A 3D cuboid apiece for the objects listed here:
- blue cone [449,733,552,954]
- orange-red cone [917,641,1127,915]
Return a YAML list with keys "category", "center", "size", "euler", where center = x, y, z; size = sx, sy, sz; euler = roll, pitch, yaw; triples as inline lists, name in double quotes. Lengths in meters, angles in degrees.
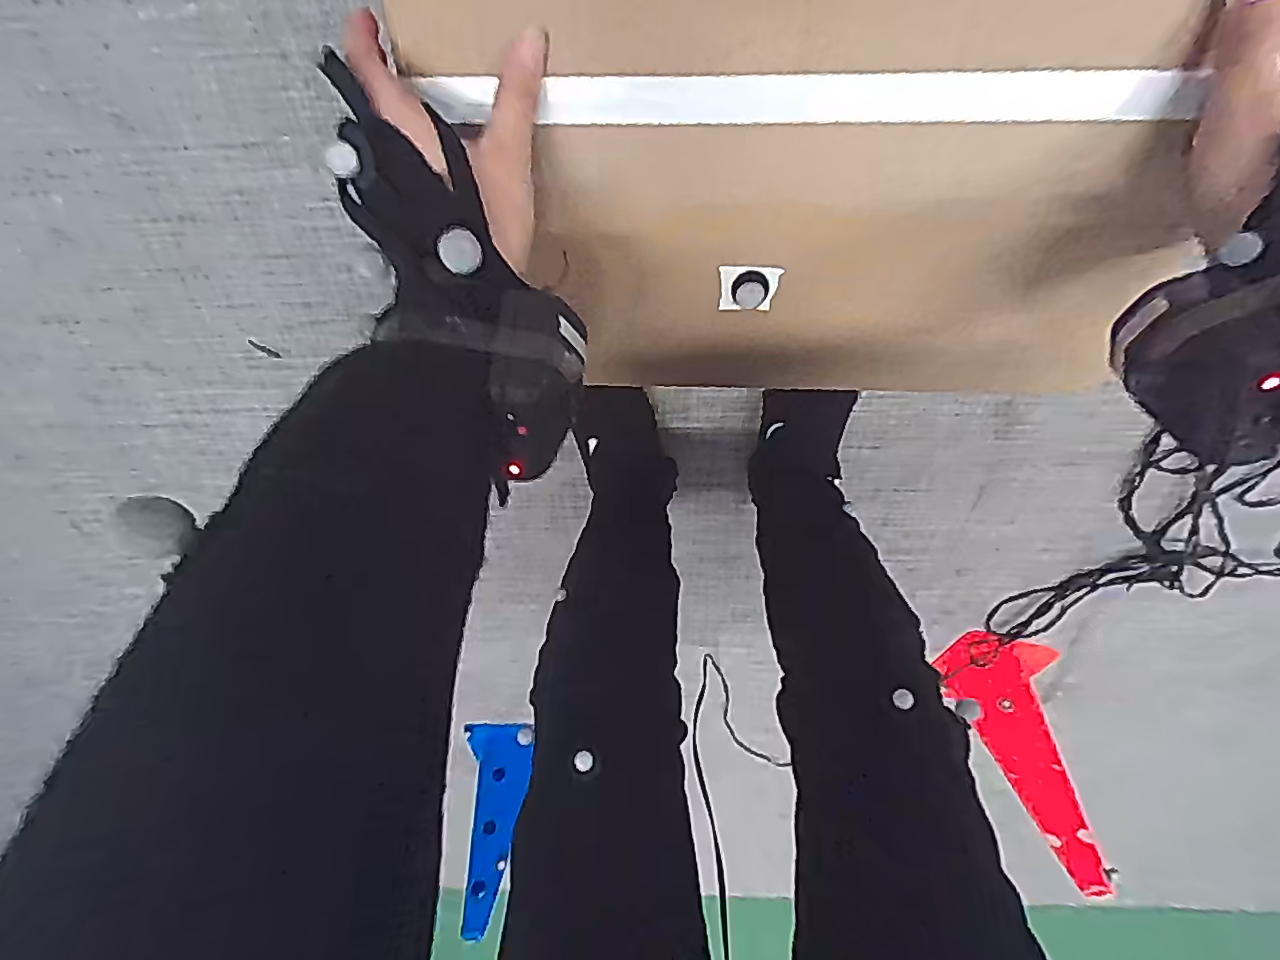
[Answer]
- category: "blue cone"
  center: [-0.313, 0.745, 1.132]
  size: [0.192, 0.380, 0.193]
  euler: [0, 126, 3]
- category: "orange-red cone"
  center: [0.644, 0.474, 0.870]
  size: [0.199, 0.360, 0.198]
  euler: [15, 126, -10]
